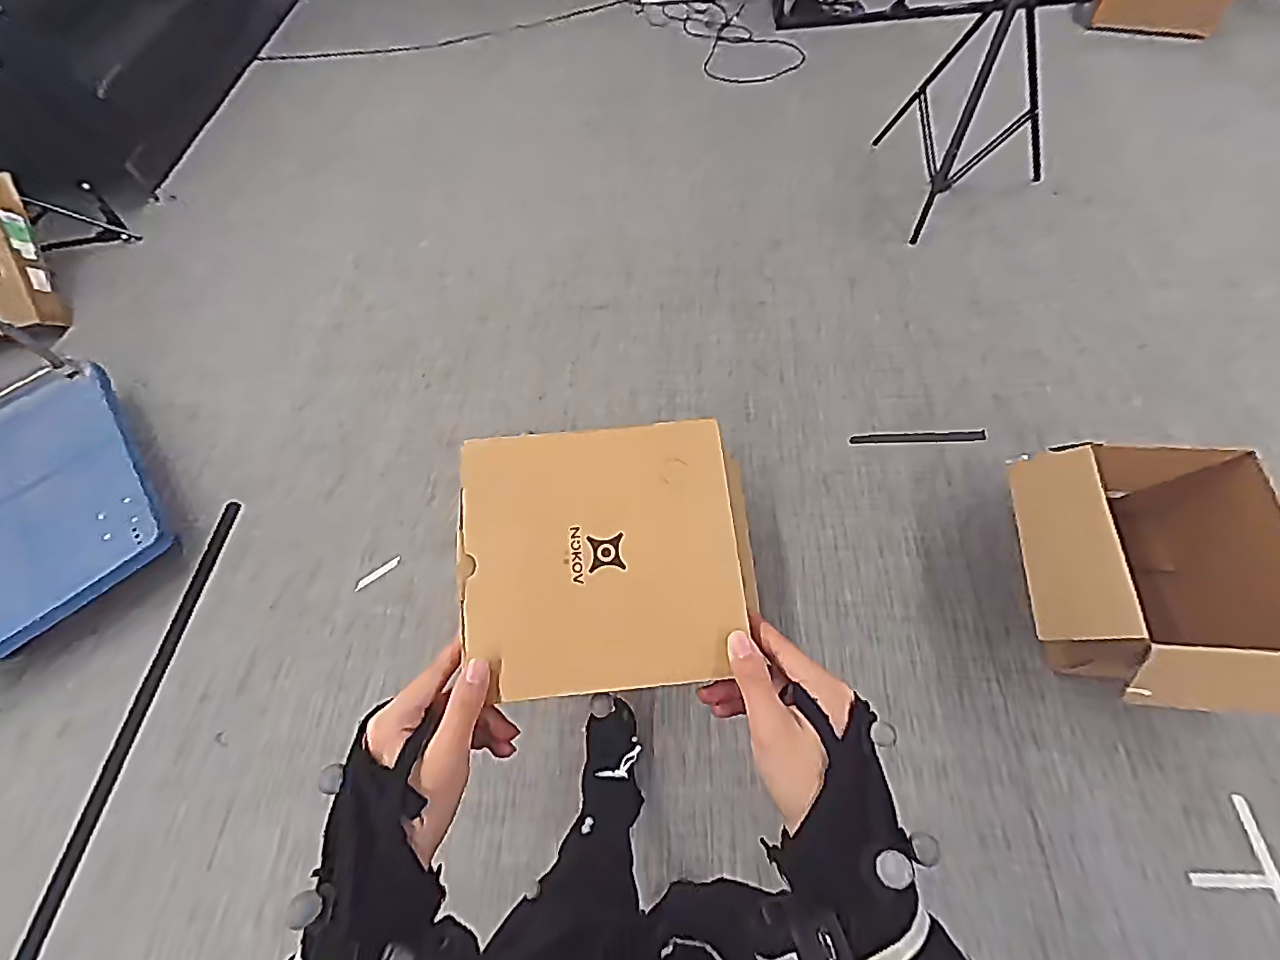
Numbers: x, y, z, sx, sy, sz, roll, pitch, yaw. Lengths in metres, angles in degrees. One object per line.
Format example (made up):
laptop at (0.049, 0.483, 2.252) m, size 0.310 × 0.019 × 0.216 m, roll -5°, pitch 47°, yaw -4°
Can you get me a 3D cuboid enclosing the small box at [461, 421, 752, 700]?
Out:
small box at (-0.025, 0.066, 0.417) m, size 0.179 × 0.176 × 0.168 m, roll -6°, pitch 74°, yaw 0°
